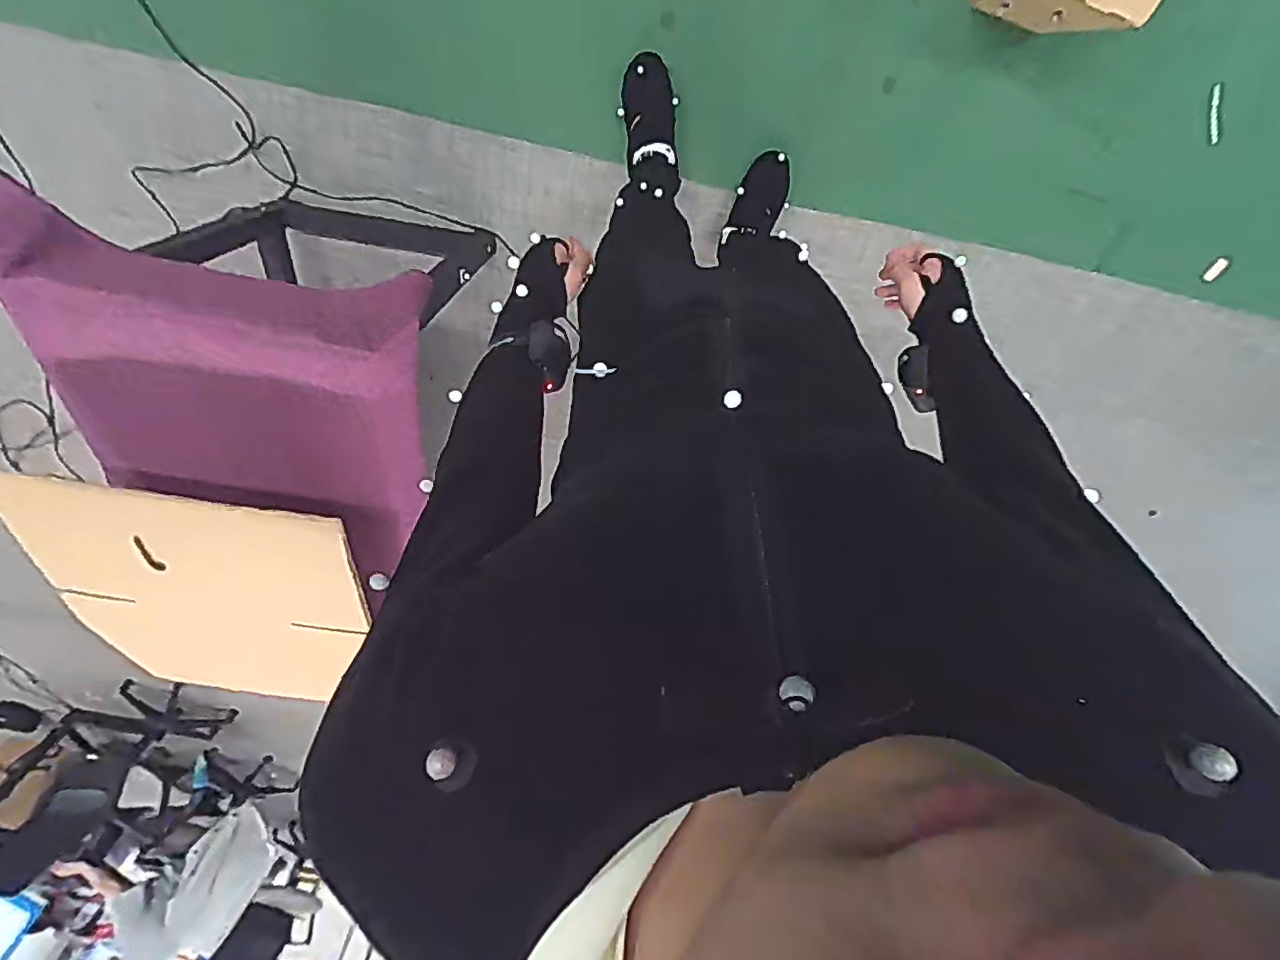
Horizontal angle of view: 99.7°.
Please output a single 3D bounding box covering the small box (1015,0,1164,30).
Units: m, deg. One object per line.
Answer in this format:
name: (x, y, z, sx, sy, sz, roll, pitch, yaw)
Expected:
small box: (0.738, -0.838, 0.840, 0.168, 0.176, 0.179, 16, 128, -7)
